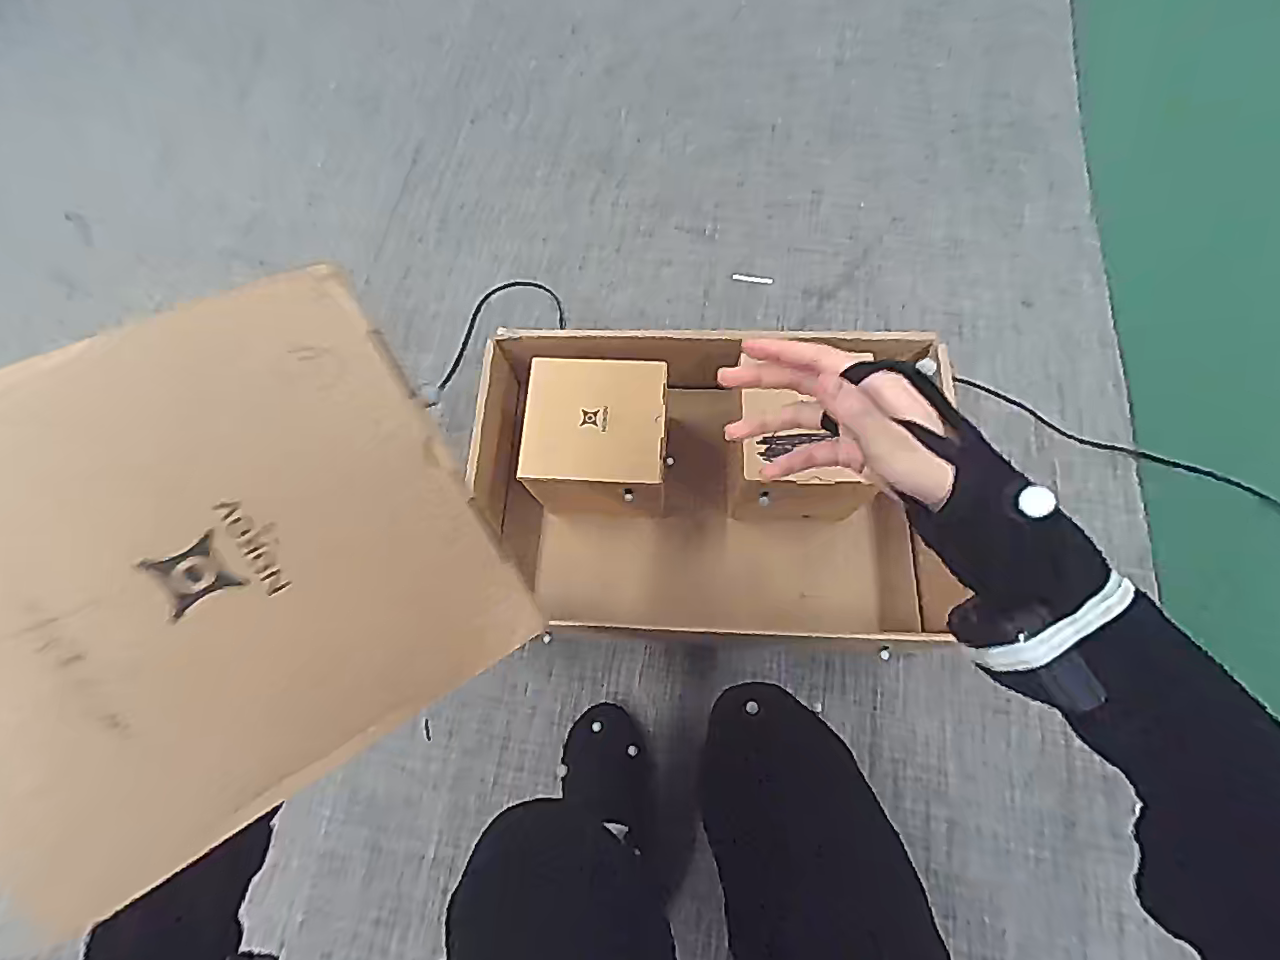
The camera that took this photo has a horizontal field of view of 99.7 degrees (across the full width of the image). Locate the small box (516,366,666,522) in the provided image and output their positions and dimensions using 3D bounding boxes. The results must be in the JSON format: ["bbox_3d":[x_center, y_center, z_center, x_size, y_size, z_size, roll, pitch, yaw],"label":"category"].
[{"bbox_3d":[-0.055,-0.041,0.745,0.179,0.176,0.168,2,72,3],"label":"small box"}]

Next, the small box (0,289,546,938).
[{"bbox_3d":[-0.171,0.039,0.264,0.179,0.176,0.168,-29,96,-18],"label":"small box"}]
